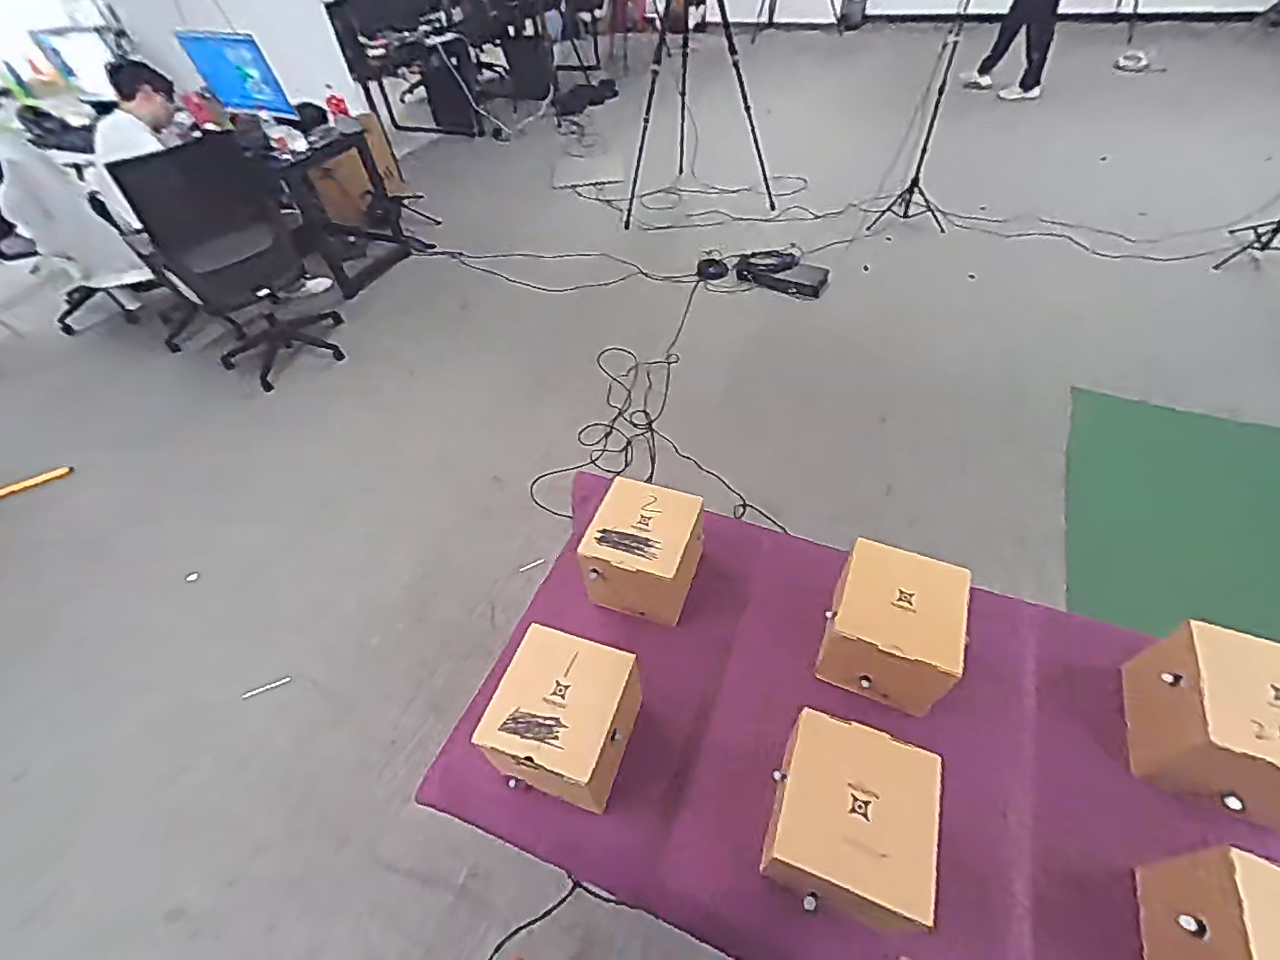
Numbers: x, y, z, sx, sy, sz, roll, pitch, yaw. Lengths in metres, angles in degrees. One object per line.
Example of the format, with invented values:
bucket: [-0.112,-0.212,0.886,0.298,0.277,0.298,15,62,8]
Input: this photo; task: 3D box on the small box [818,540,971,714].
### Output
small box: [0.388,0.229,0.841,0.168,0.176,0.179,17,54,18]

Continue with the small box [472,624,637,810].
small box: [-0.106,0.342,0.777,0.168,0.176,0.179,13,49,15]

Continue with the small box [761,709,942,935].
small box: [0.257,0.427,0.678,0.168,0.176,0.179,15,51,18]

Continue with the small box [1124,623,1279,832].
small box: [0.787,0.327,0.716,0.168,0.176,0.179,16,53,21]

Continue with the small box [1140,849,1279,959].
small box: [0.663,0.526,0.554,0.168,0.176,0.179,17,51,20]
